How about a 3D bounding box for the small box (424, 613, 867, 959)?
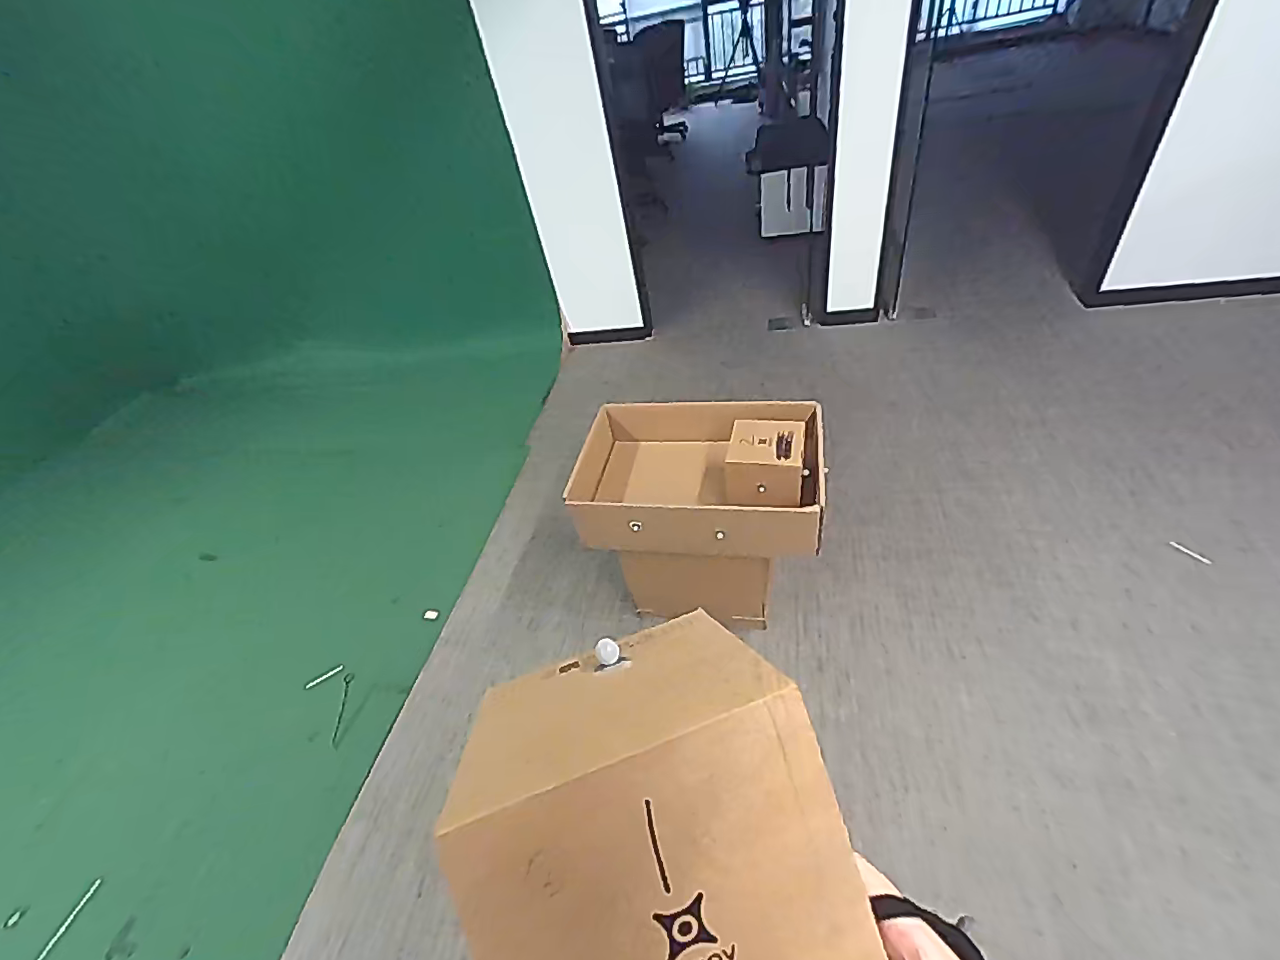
[{"bbox_3d":[0.002,0.198,0.314,0.168,0.179,0.176,-18,0,-9],"label":"small box"}]
